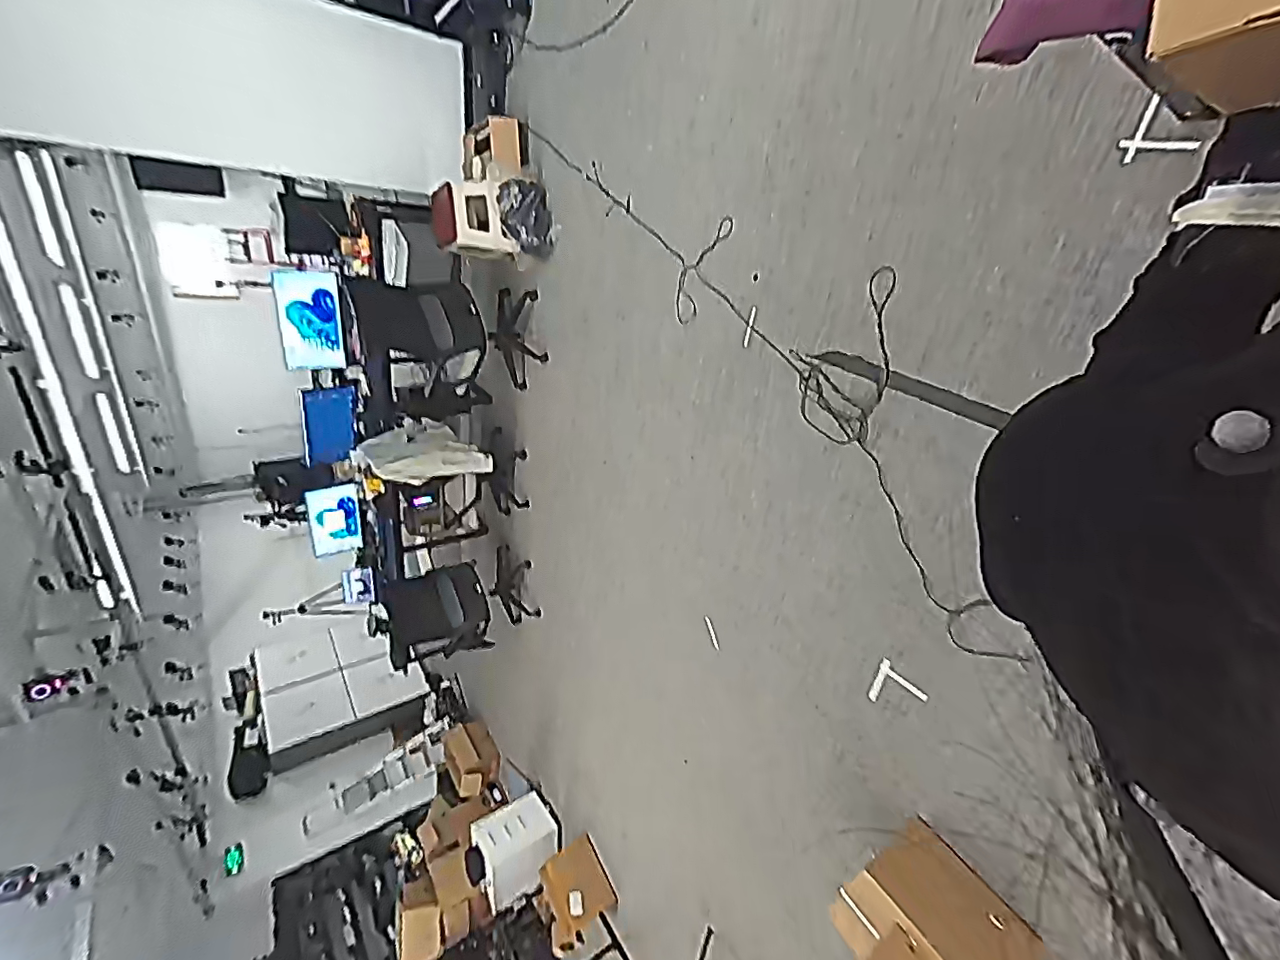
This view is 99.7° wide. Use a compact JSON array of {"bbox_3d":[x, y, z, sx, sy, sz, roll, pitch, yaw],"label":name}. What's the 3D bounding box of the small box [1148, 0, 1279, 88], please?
[{"bbox_3d":[0.335,-0.278,0.202,0.168,0.176,0.179,15,115,52],"label":"small box"}]
